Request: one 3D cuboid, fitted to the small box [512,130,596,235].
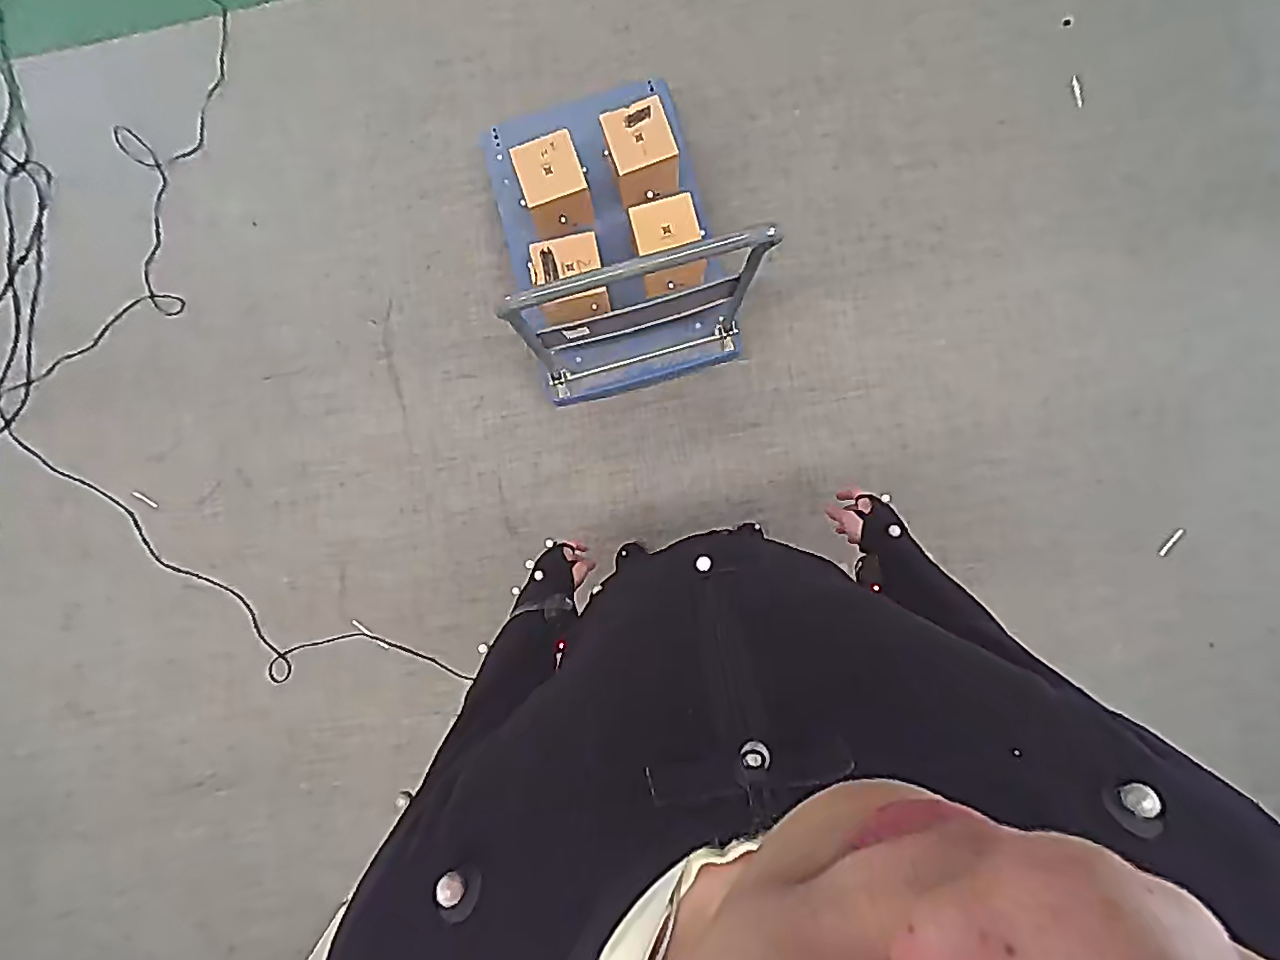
[{"bbox_3d":[-0.229,-0.802,1.483,0.168,0.176,0.179,-19,85,1],"label":"small box"}]

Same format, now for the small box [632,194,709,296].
[{"bbox_3d":[0.079,-0.624,1.454,0.168,0.176,0.179,-14,86,2],"label":"small box"}]

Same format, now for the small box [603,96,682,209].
[{"bbox_3d":[0.009,-0.885,1.475,0.168,0.176,0.179,-19,86,3],"label":"small box"}]
